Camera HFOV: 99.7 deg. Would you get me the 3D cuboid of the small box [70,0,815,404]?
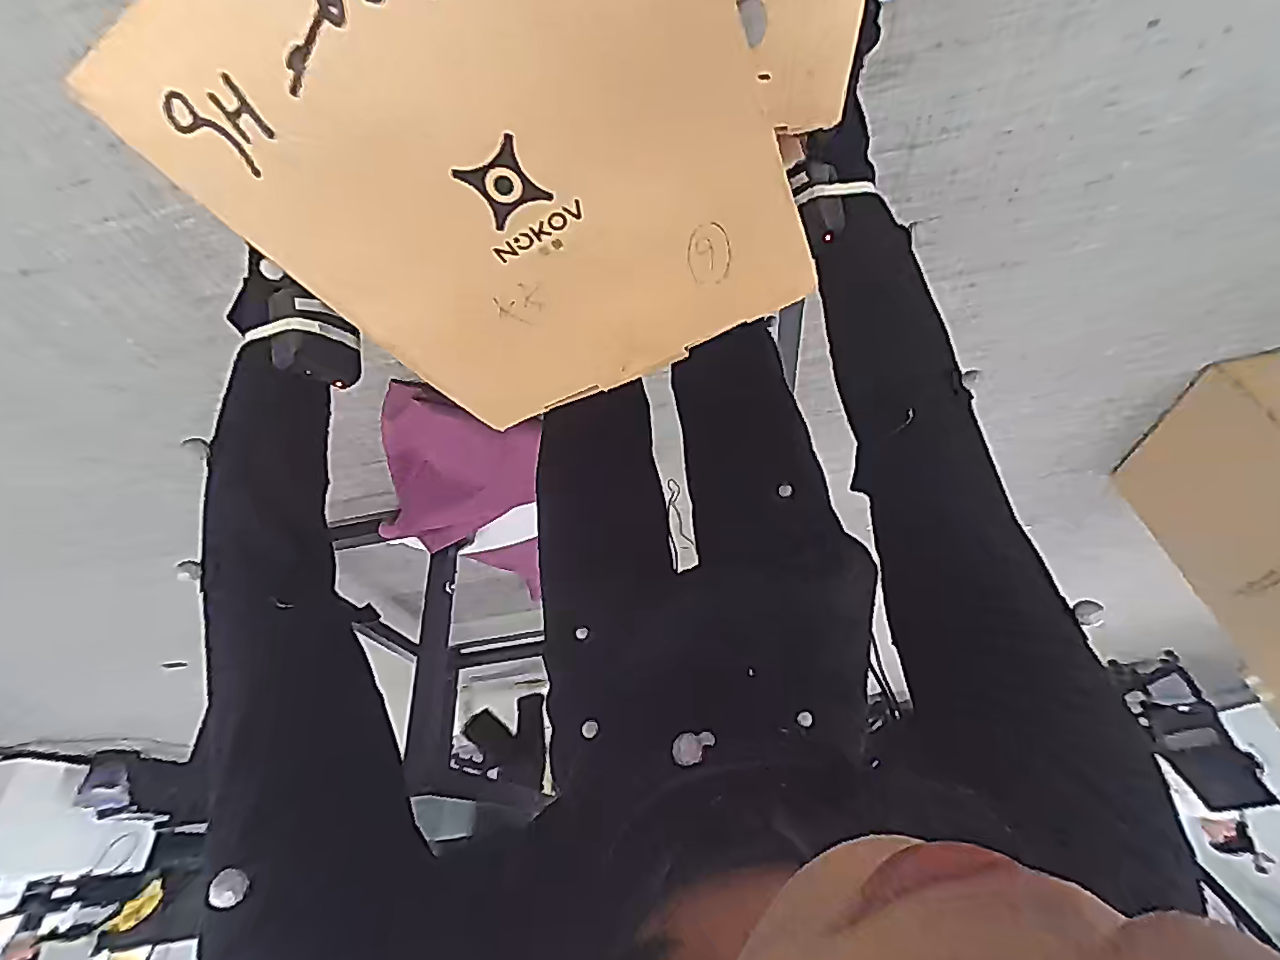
[{"bbox_3d":[-0.045,-0.168,0.222,0.168,0.176,0.179,-21,144,19],"label":"small box"}]
